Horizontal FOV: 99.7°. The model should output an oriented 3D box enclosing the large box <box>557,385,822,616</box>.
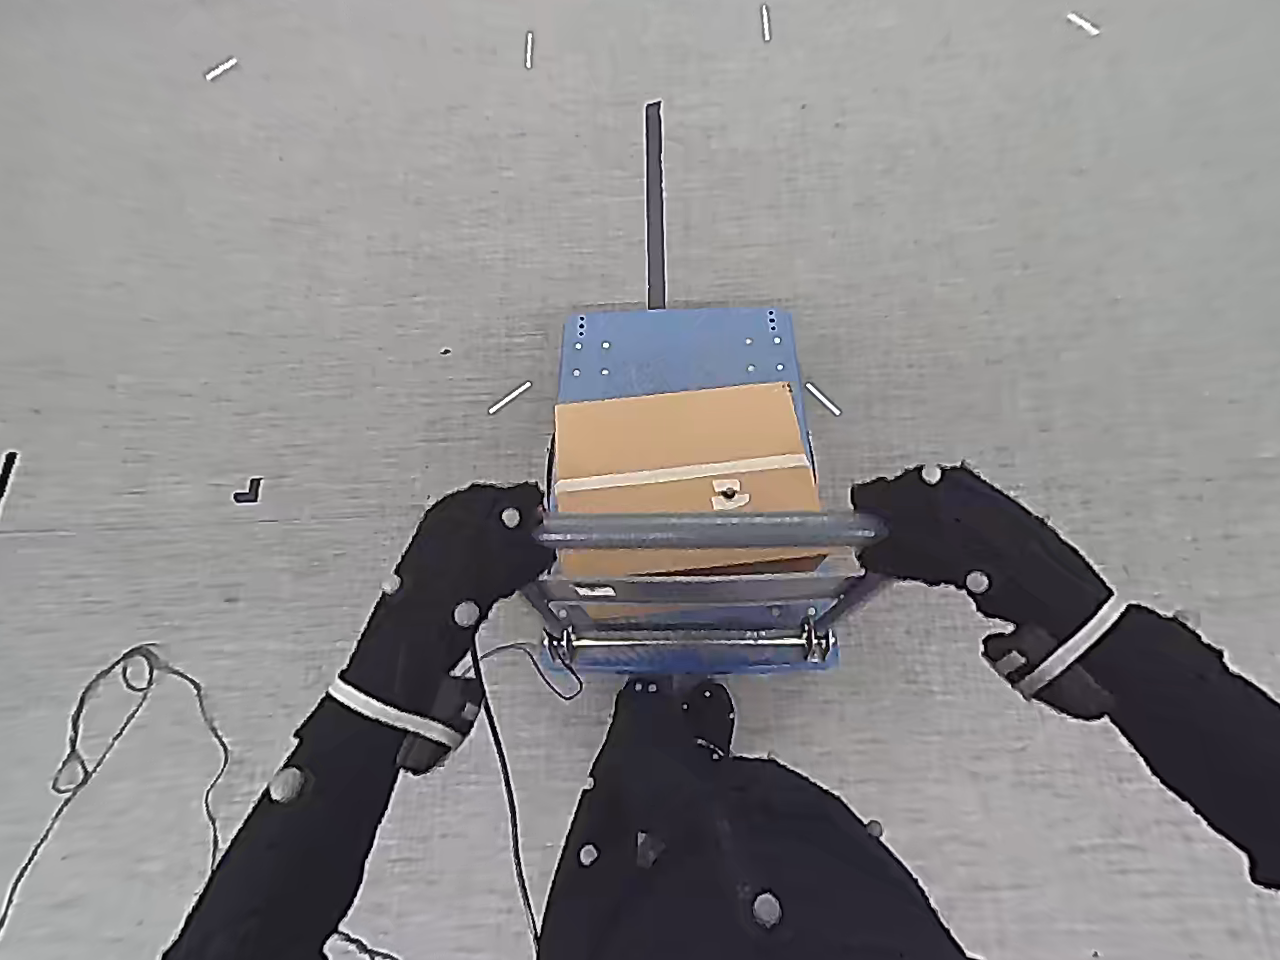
[{"bbox_3d":[0.071,0.054,1.020,0.408,0.320,0.320,-6,65,-1],"label":"large box"}]
